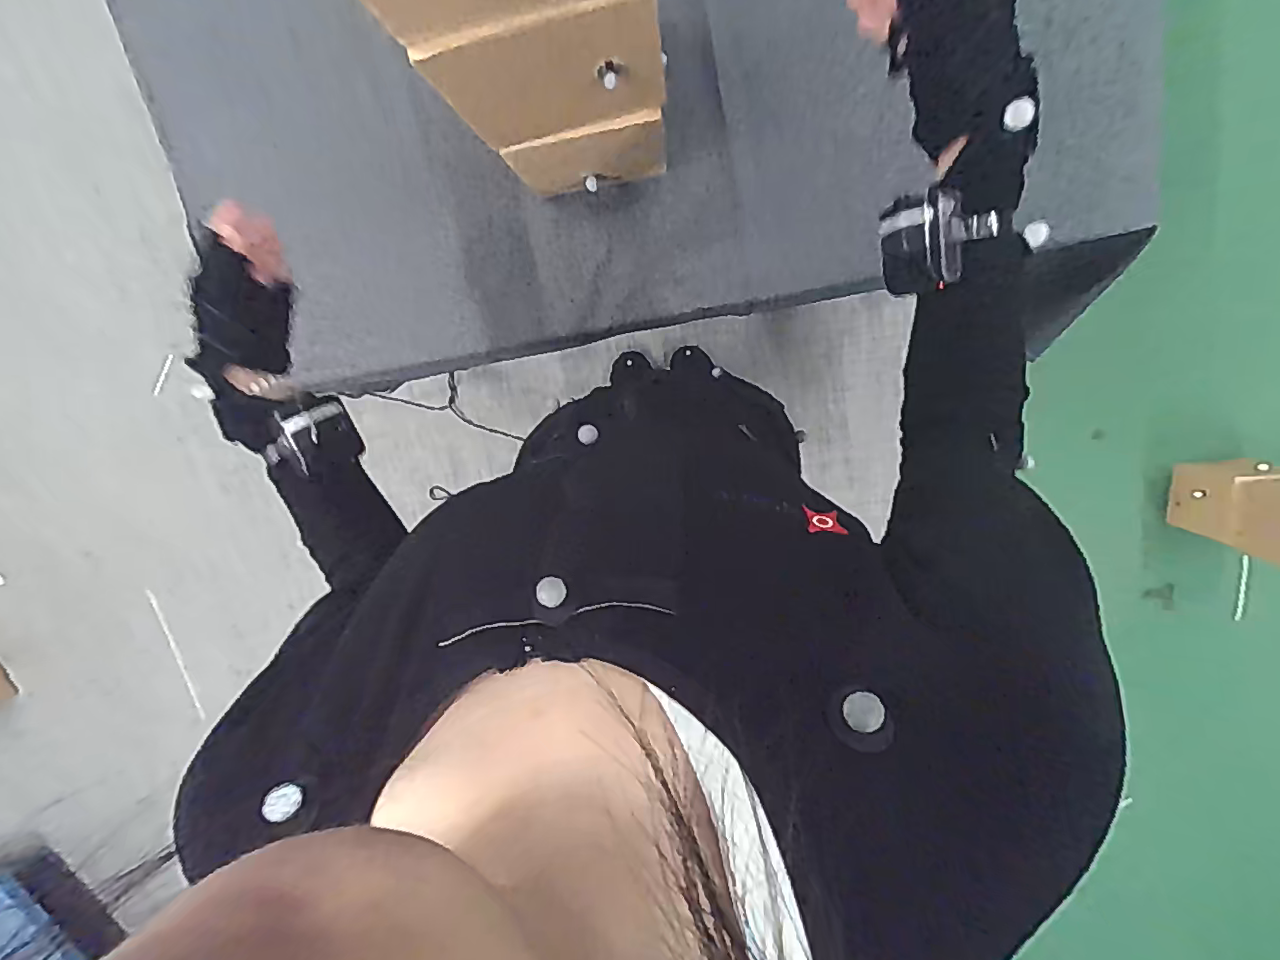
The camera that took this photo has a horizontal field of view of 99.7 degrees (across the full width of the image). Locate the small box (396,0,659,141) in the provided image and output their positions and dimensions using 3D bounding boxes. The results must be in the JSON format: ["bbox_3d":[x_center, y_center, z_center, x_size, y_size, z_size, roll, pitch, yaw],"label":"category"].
[{"bbox_3d":[-0.084,-0.400,0.421,0.179,0.176,0.168,-11,101,7],"label":"small box"}]

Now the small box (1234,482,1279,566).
[{"bbox_3d":[1.464,0.099,1.174,0.168,0.176,0.179,-5,103,5],"label":"small box"}]

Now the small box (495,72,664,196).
[{"bbox_3d":[-0.068,-0.434,0.580,0.168,0.176,0.179,-8,103,6],"label":"small box"}]

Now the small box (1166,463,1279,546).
[{"bbox_3d":[1.464,0.056,1.333,0.179,0.176,0.168,-4,102,4],"label":"small box"}]
